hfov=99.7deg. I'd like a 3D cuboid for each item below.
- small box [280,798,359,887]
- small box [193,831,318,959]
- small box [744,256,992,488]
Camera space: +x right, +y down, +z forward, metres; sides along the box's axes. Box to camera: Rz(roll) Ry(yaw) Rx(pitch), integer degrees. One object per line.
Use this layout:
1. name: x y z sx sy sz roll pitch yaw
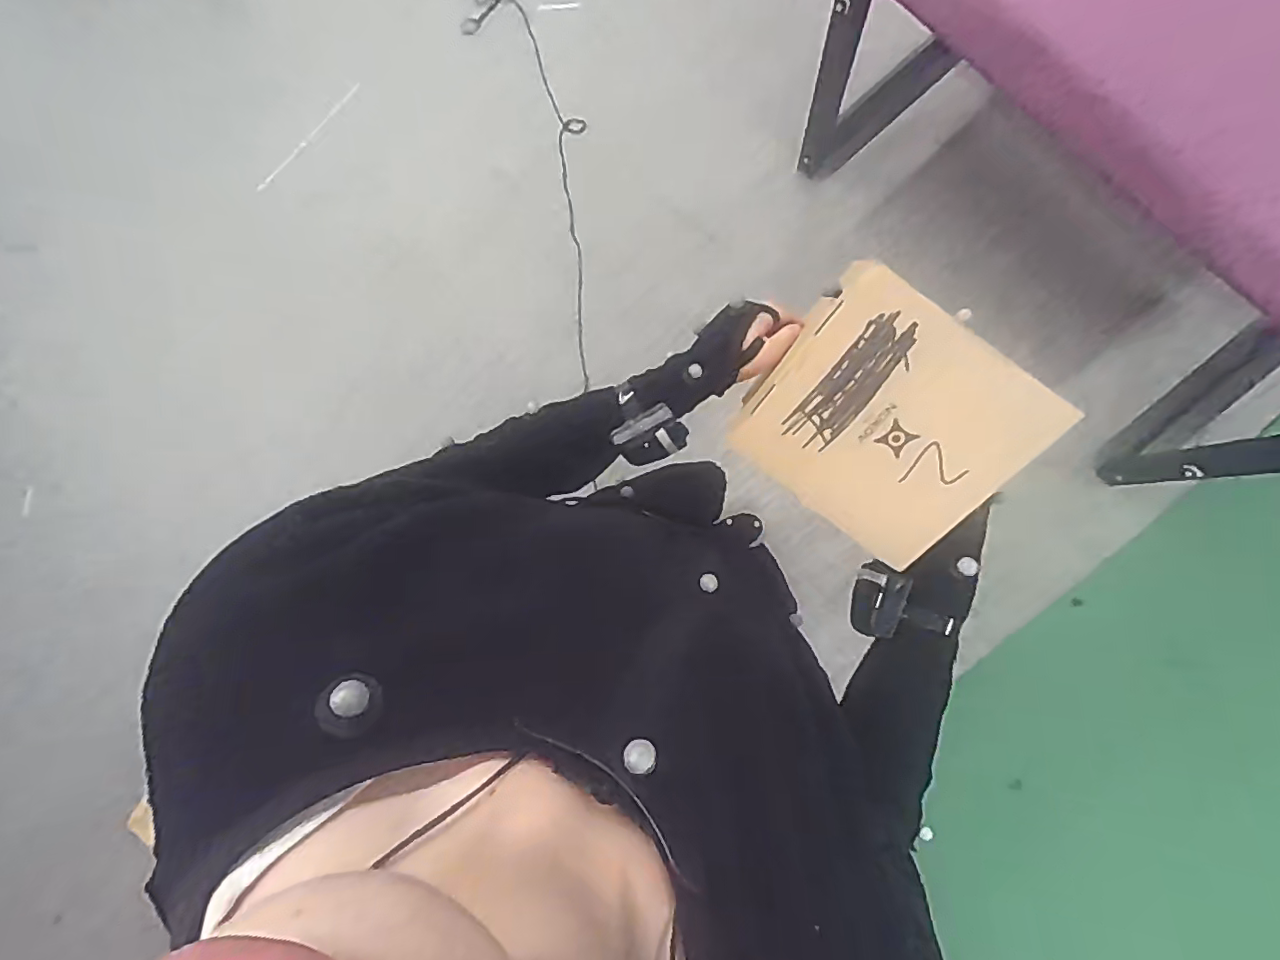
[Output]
1. small box: -0.922 1.035 1.504 0.179 0.176 0.168 -41 82 5
2. small box: -0.943 1.023 1.341 0.168 0.176 0.179 -23 83 7
3. small box: 0.244 -0.128 0.615 0.168 0.176 0.179 41 116 -3
